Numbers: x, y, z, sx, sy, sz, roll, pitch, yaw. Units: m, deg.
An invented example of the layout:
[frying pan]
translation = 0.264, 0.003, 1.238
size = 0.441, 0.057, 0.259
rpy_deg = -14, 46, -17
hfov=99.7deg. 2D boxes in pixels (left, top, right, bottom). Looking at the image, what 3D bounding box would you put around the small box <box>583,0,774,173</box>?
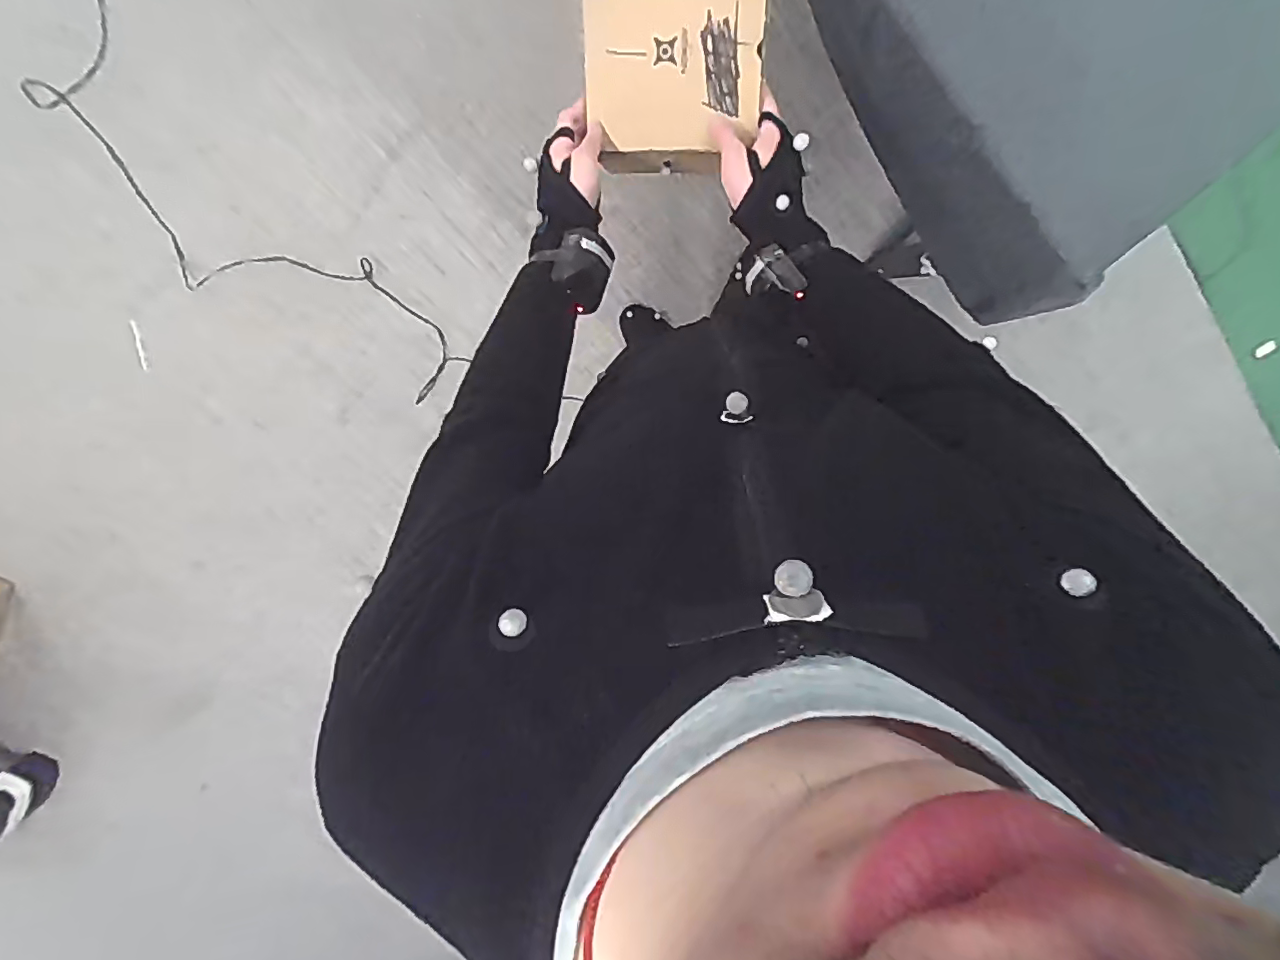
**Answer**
[small box]
translation = 0.038, -0.434, 0.576
size = 0.179, 0.176, 0.168
rpy_deg = 1, 112, 3
